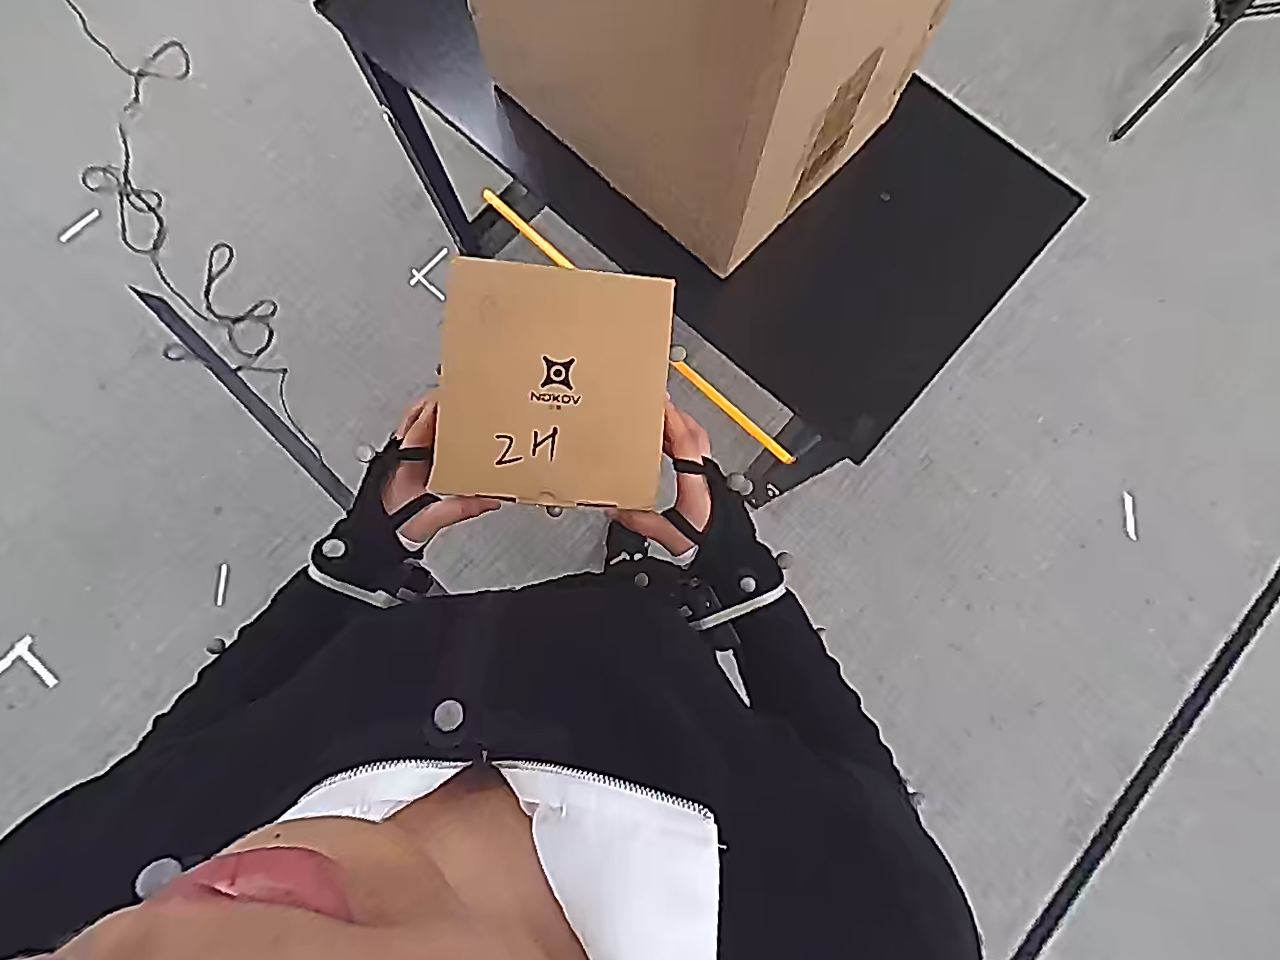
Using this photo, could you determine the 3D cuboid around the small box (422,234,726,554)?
[{"bbox_3d":[-0.043,-0.047,0.393,0.168,0.176,0.179,4,89,-4],"label":"small box"}]
